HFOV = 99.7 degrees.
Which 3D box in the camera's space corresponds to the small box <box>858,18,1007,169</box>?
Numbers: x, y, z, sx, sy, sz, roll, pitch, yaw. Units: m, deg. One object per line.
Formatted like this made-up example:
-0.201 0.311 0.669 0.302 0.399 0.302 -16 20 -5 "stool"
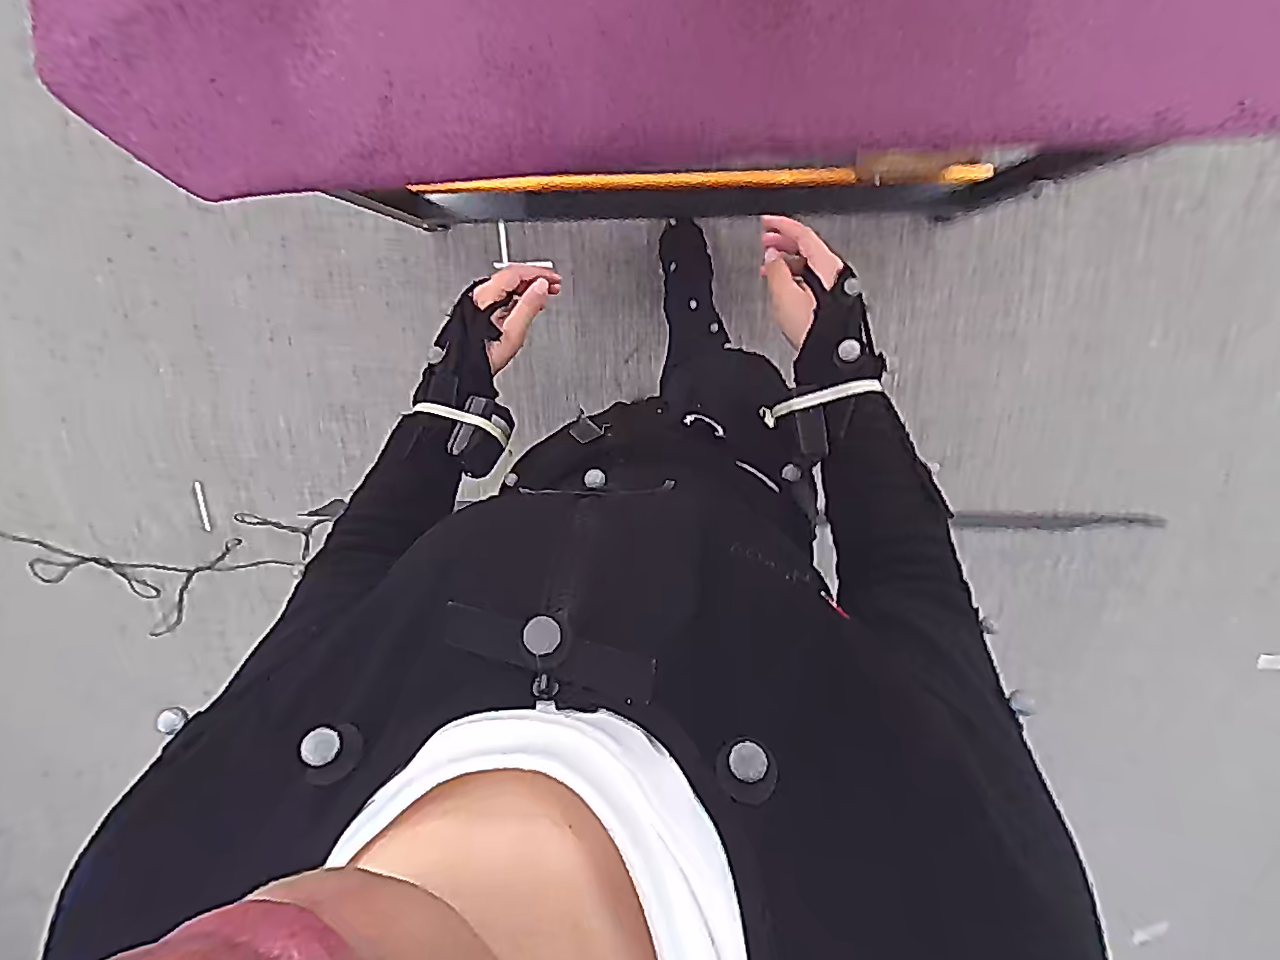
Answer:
0.493 -0.656 0.941 0.168 0.176 0.179 1 106 3 "small box"
